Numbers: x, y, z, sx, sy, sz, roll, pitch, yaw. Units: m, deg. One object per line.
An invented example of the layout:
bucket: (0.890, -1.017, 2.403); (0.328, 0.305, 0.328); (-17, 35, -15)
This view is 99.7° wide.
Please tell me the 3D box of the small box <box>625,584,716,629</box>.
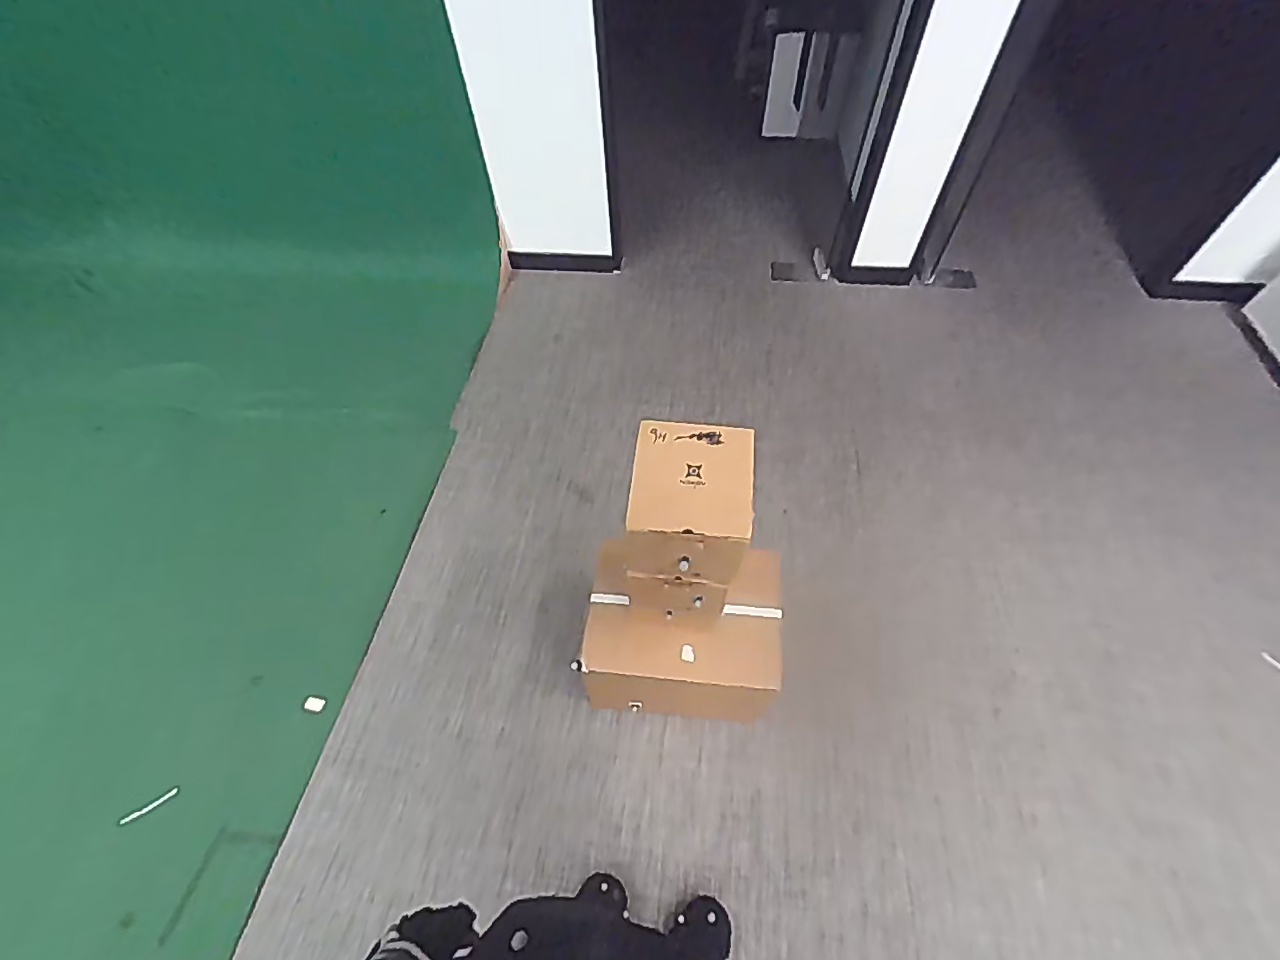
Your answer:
small box: (0.076, 0.192, 1.098); (0.179, 0.176, 0.168); (11, 60, 9)

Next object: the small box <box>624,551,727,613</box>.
small box: (0.068, 0.124, 0.954); (0.168, 0.176, 0.179); (5, 60, 4)

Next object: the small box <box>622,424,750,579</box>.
small box: (0.071, 0.038, 0.815); (0.168, 0.176, 0.179); (5, 62, 5)
